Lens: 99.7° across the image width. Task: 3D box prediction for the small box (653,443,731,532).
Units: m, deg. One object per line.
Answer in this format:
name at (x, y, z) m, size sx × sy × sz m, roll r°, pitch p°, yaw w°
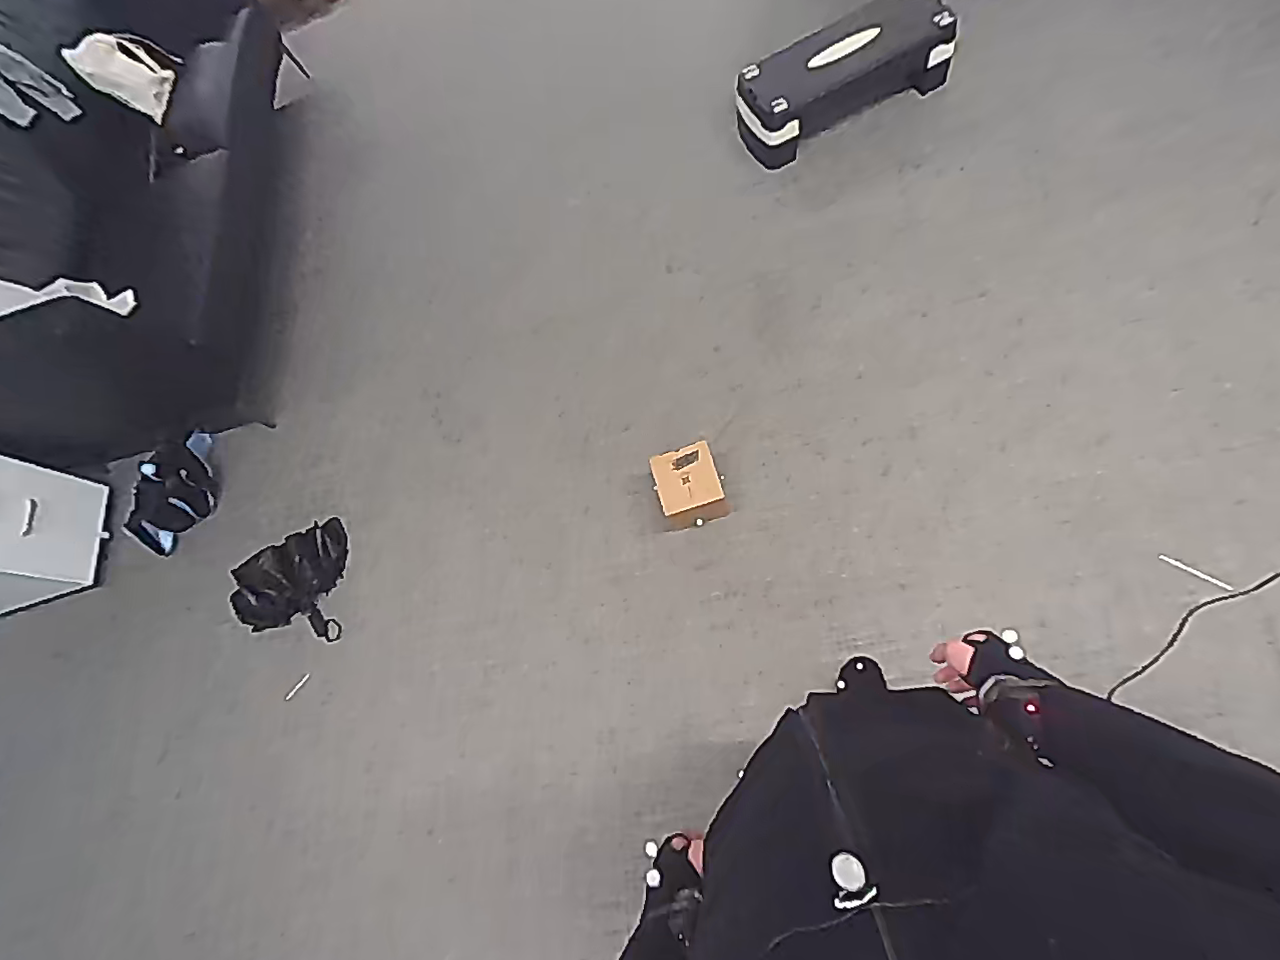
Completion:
small box at (0.148, 0.026, 1.507) m, size 0.168 × 0.176 × 0.179 m, roll -18°, pitch 68°, yaw 9°
